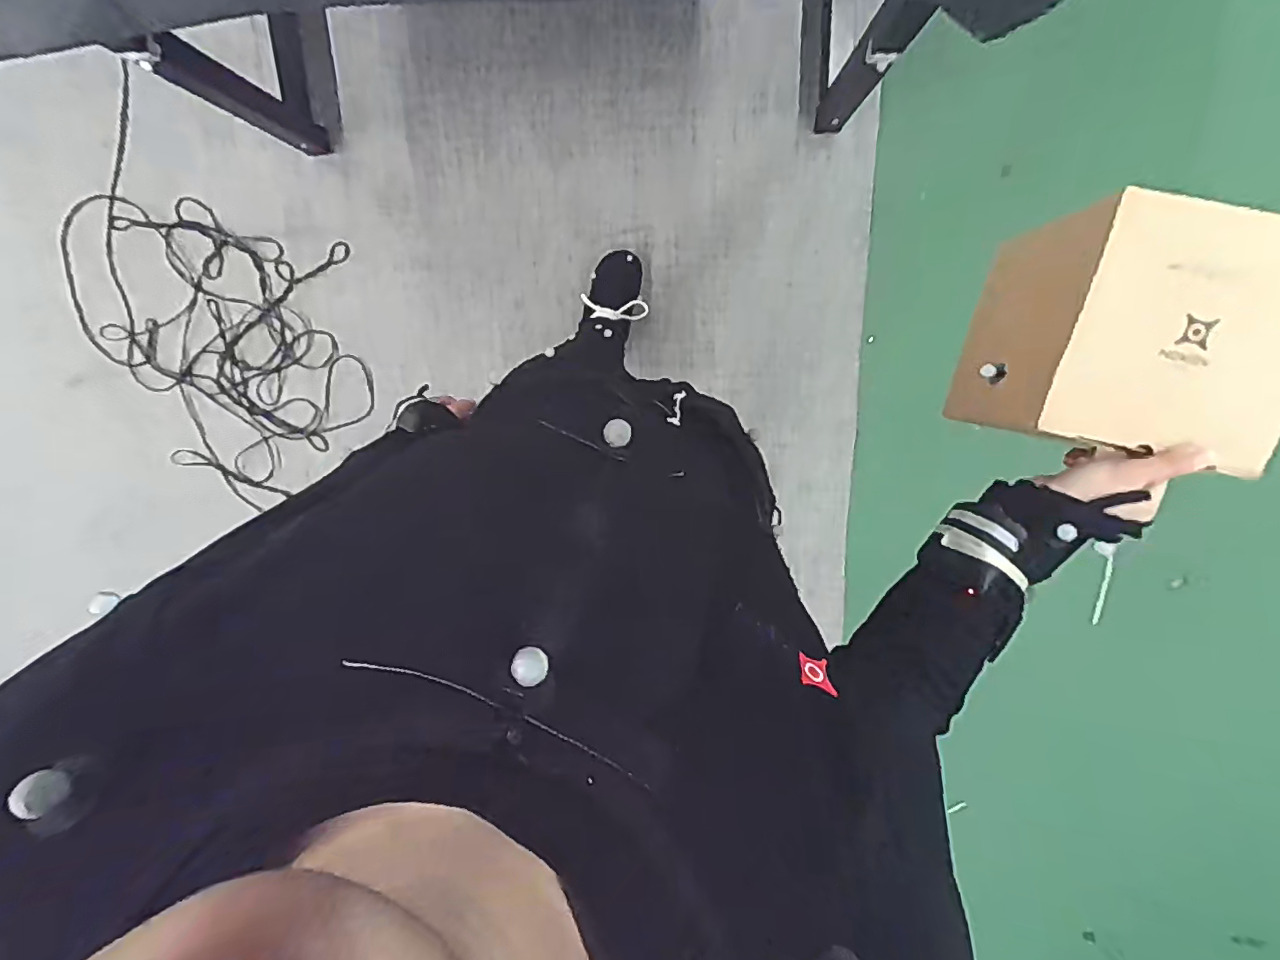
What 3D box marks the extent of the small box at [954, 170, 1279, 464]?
[{"bbox_3d":[0.400,-0.125,0.456,0.168,0.176,0.179,12,101,3],"label":"small box"}]
